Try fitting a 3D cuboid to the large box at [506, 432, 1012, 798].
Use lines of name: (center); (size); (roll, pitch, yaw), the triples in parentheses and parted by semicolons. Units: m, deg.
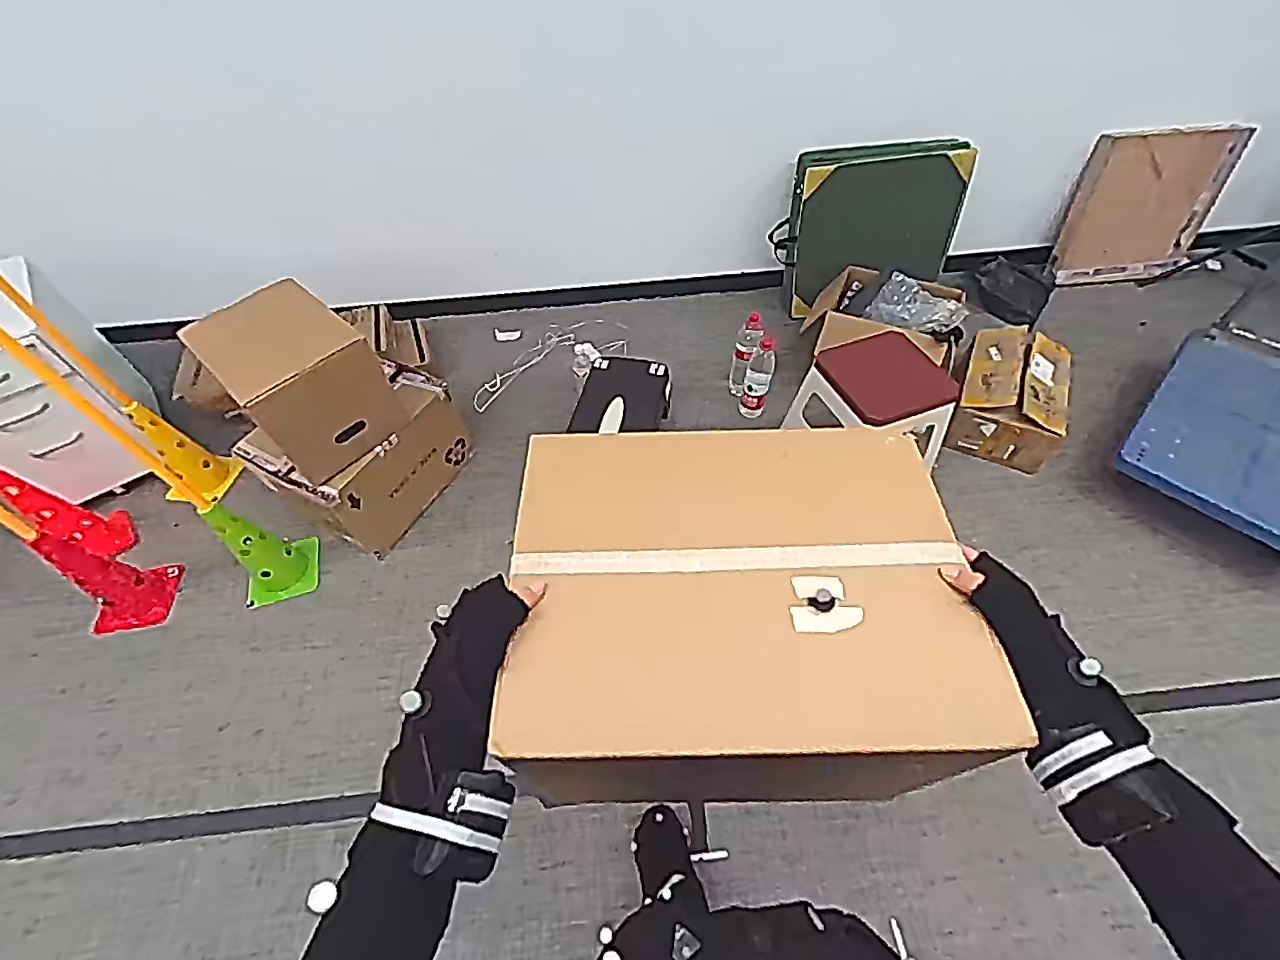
large box: (0.090, 0.165, 0.624); (0.408, 0.320, 0.320); (-1, 54, 1)
